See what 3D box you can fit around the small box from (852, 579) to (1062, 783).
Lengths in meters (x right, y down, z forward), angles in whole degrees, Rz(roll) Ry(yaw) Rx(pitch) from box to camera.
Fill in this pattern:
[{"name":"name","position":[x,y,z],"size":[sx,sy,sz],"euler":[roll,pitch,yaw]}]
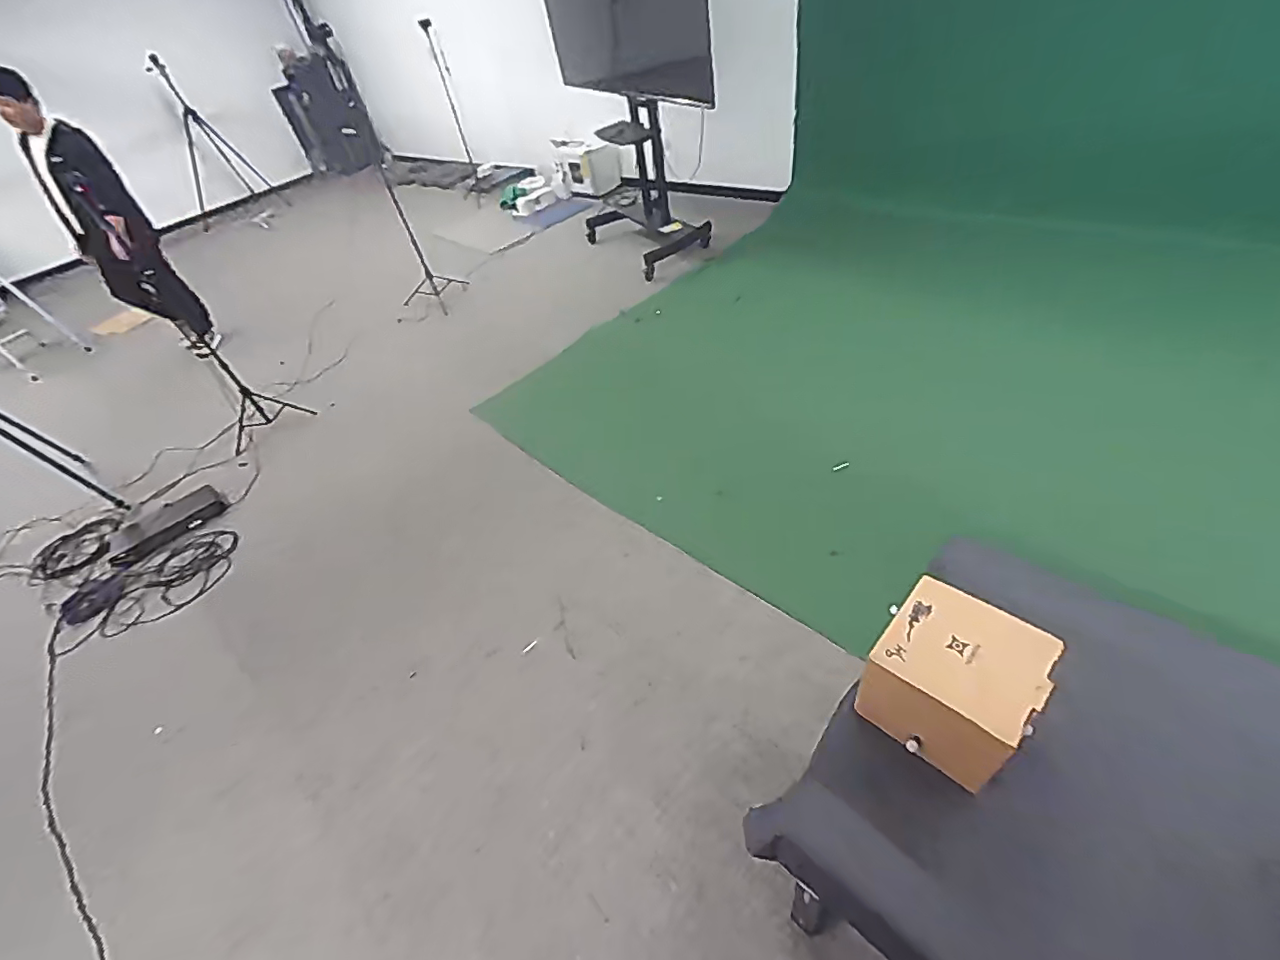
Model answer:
[{"name":"small box","position":[0.414,0.276,0.733],"size":[0.179,0.176,0.168],"euler":[30,58,35]}]
